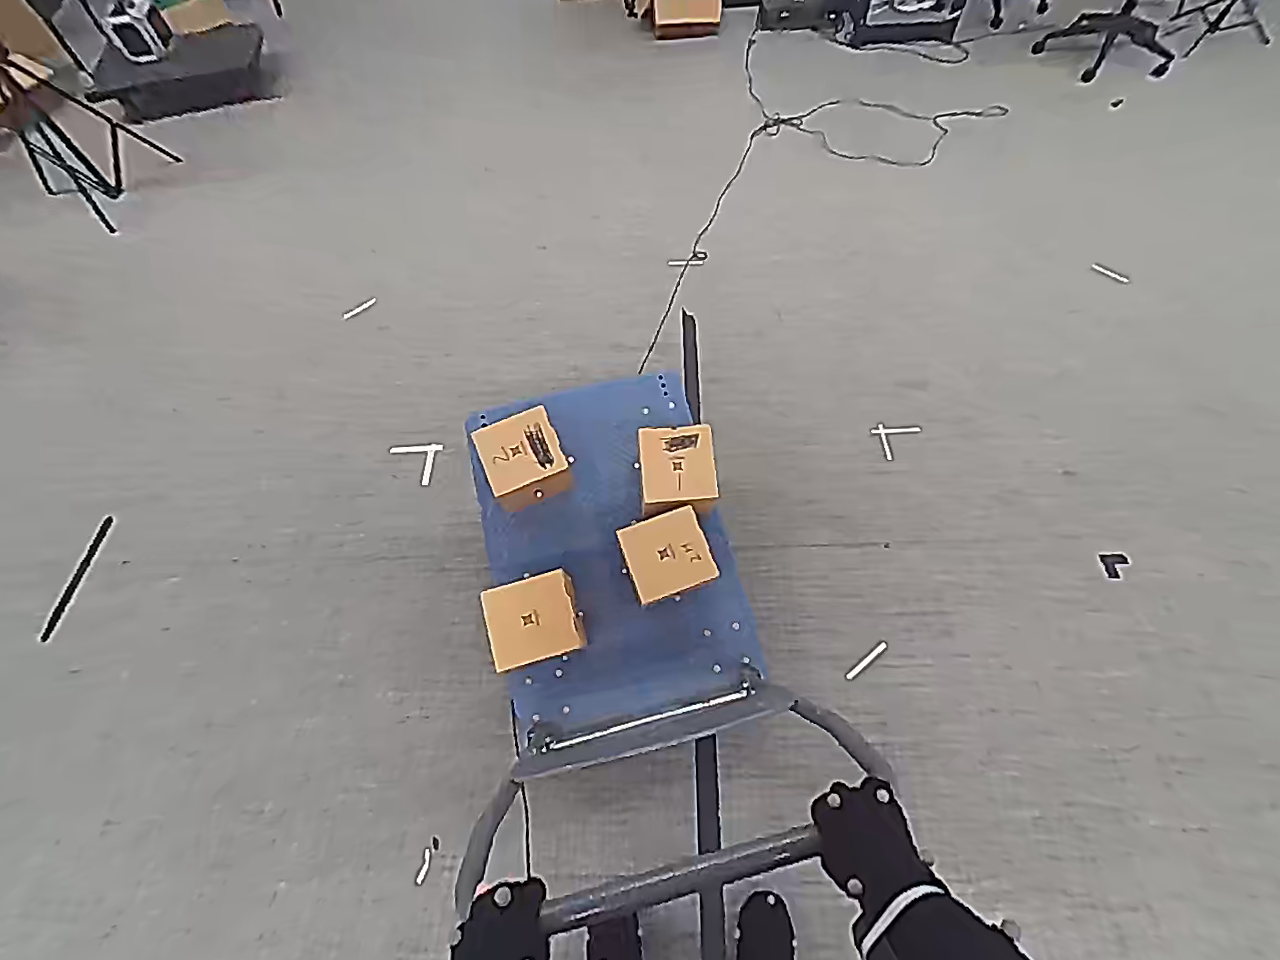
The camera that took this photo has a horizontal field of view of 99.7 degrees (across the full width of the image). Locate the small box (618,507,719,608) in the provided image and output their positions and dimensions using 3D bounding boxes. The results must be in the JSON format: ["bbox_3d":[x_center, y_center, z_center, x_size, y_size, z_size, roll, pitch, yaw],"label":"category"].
[{"bbox_3d":[0.061,0.182,1.215,0.179,0.176,0.168,-19,74,-6],"label":"small box"}]

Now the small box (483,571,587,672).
[{"bbox_3d":[-0.222,0.312,1.177,0.179,0.176,0.168,-16,74,-7],"label":"small box"}]

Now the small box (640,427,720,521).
[{"bbox_3d":[0.087,-0.011,1.273,0.168,0.176,0.179,-4,74,-1],"label":"small box"}]
